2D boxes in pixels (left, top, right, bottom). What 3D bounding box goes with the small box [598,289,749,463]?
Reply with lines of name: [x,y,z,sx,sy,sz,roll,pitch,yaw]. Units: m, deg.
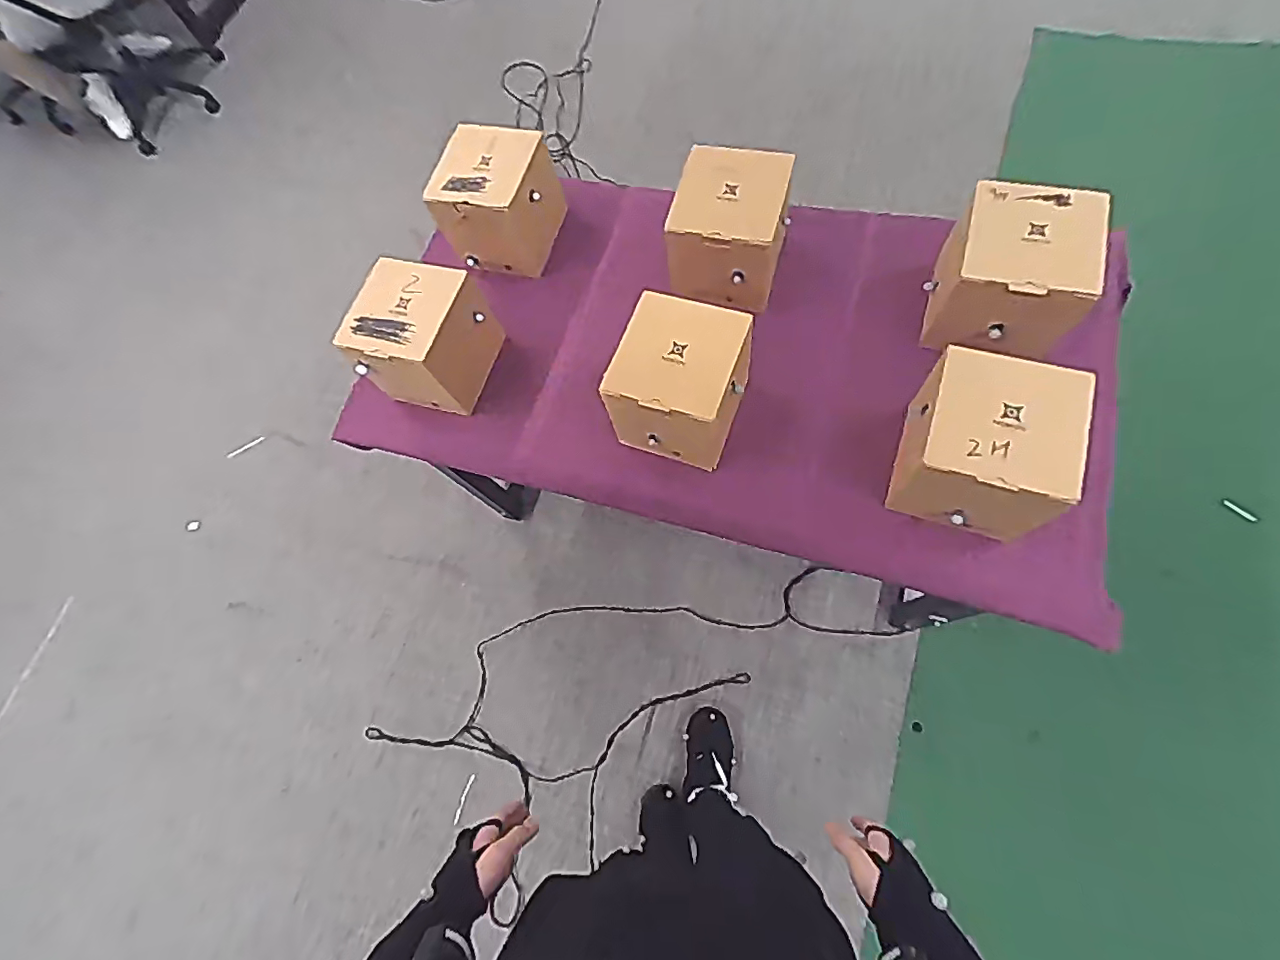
small box: [0.056,-0.150,0.815,0.168,0.176,0.179,17,74,14]

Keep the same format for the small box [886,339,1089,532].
small box: [0.443,-0.052,0.713,0.168,0.176,0.179,16,73,16]

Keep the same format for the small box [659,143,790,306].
small box: [0.142,-0.415,0.897,0.168,0.176,0.179,14,73,13]

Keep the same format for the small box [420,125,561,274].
small box: [-0.261,-0.507,0.991,0.168,0.176,0.179,12,73,13]

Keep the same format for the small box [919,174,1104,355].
small box: [0.530,-0.306,0.794,0.168,0.176,0.179,15,74,14]
